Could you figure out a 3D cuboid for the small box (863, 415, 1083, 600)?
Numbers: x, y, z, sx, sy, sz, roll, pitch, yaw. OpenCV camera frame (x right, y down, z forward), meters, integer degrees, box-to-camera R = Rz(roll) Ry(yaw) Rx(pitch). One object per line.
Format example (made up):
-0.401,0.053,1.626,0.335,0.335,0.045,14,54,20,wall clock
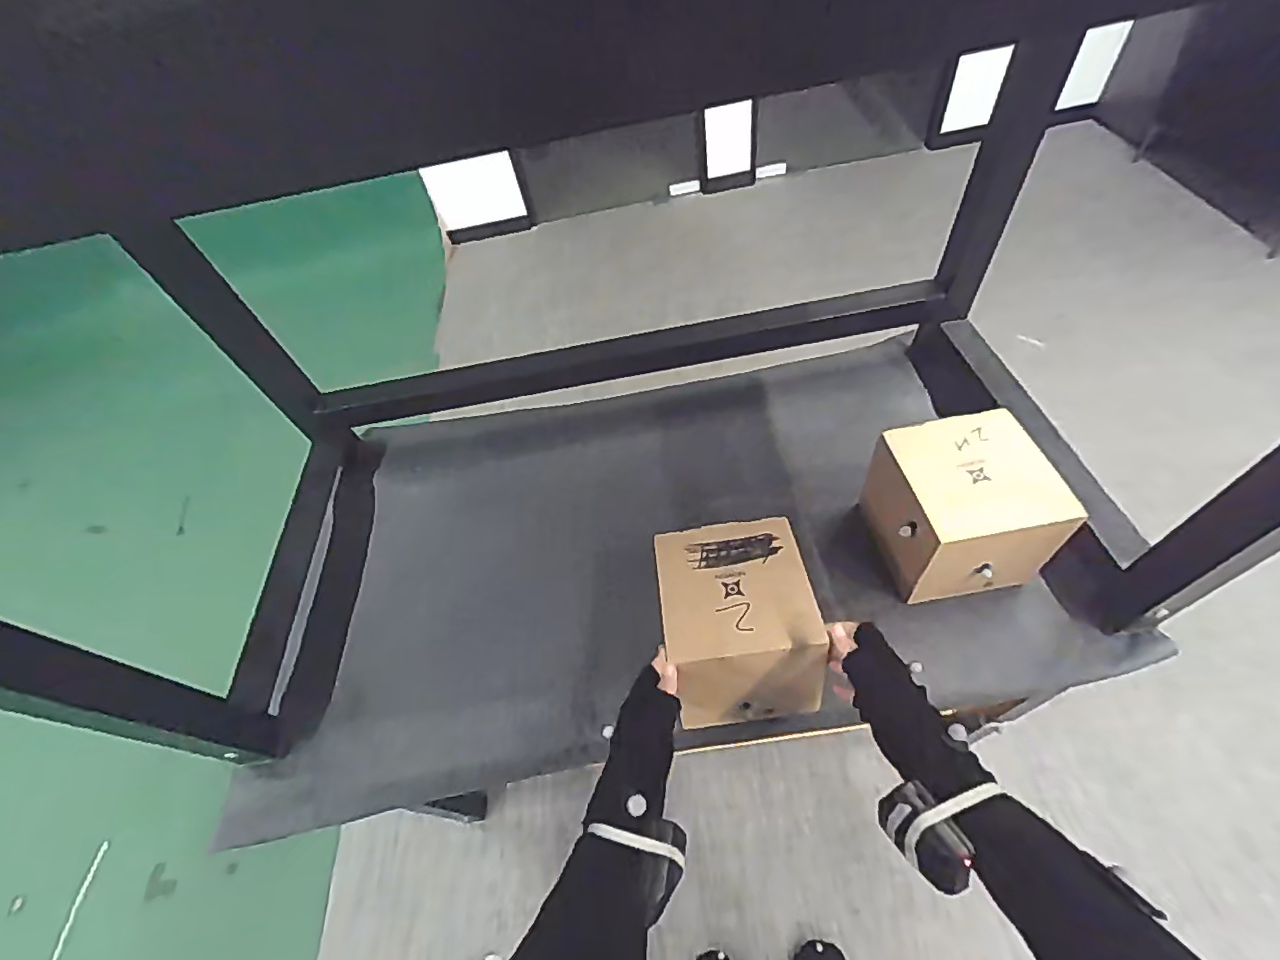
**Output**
0.419,0.045,0.720,0.168,0.176,0.179,-11,52,2,small box
